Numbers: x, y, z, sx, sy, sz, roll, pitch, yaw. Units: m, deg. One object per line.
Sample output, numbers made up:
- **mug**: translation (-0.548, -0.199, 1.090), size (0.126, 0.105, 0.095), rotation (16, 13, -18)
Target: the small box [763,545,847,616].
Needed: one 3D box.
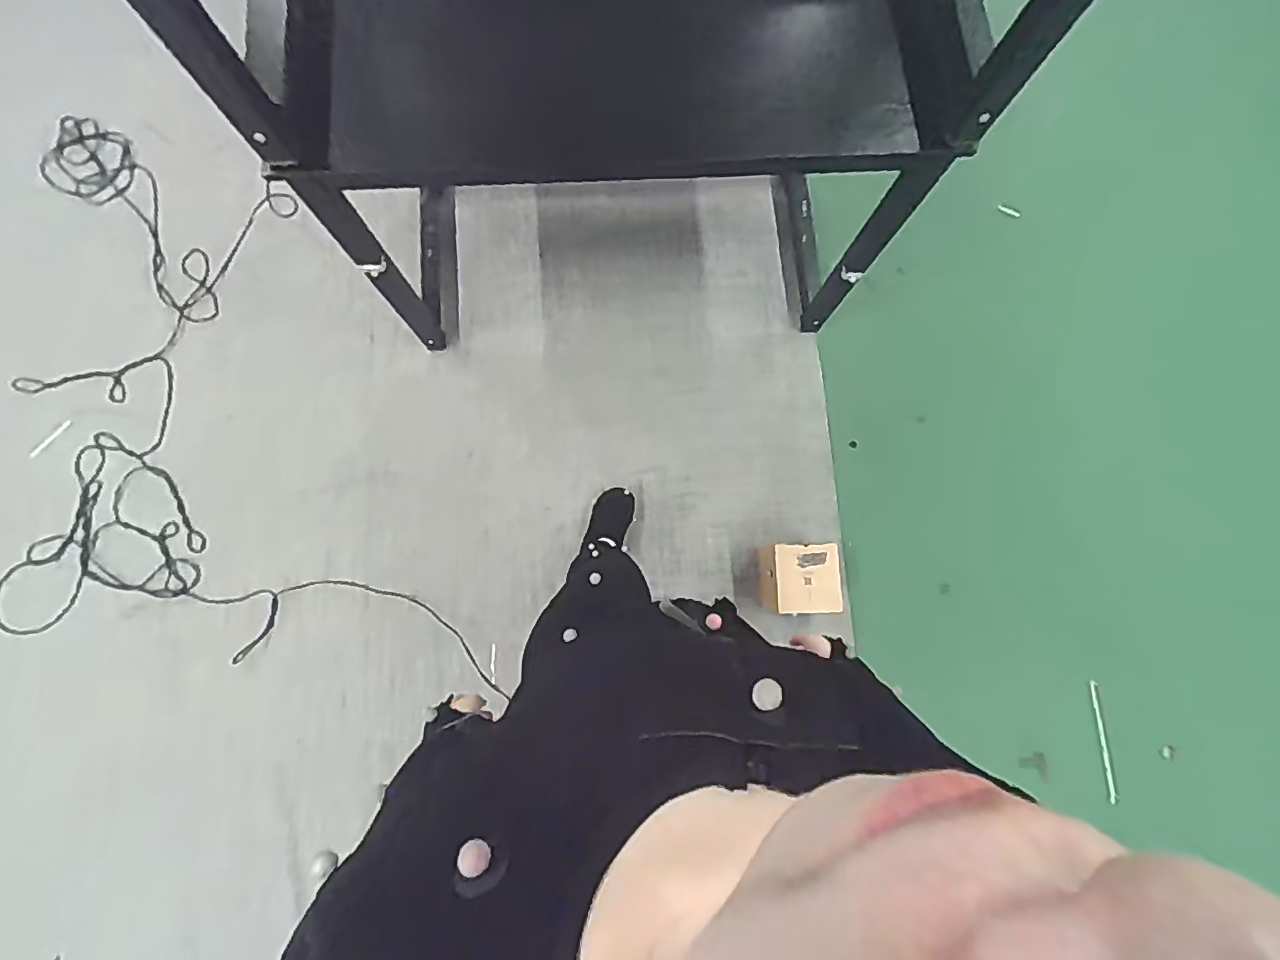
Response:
- **small box**: translation (0.427, 0.264, 1.425), size (0.168, 0.176, 0.179), rotation (0, 81, -1)
